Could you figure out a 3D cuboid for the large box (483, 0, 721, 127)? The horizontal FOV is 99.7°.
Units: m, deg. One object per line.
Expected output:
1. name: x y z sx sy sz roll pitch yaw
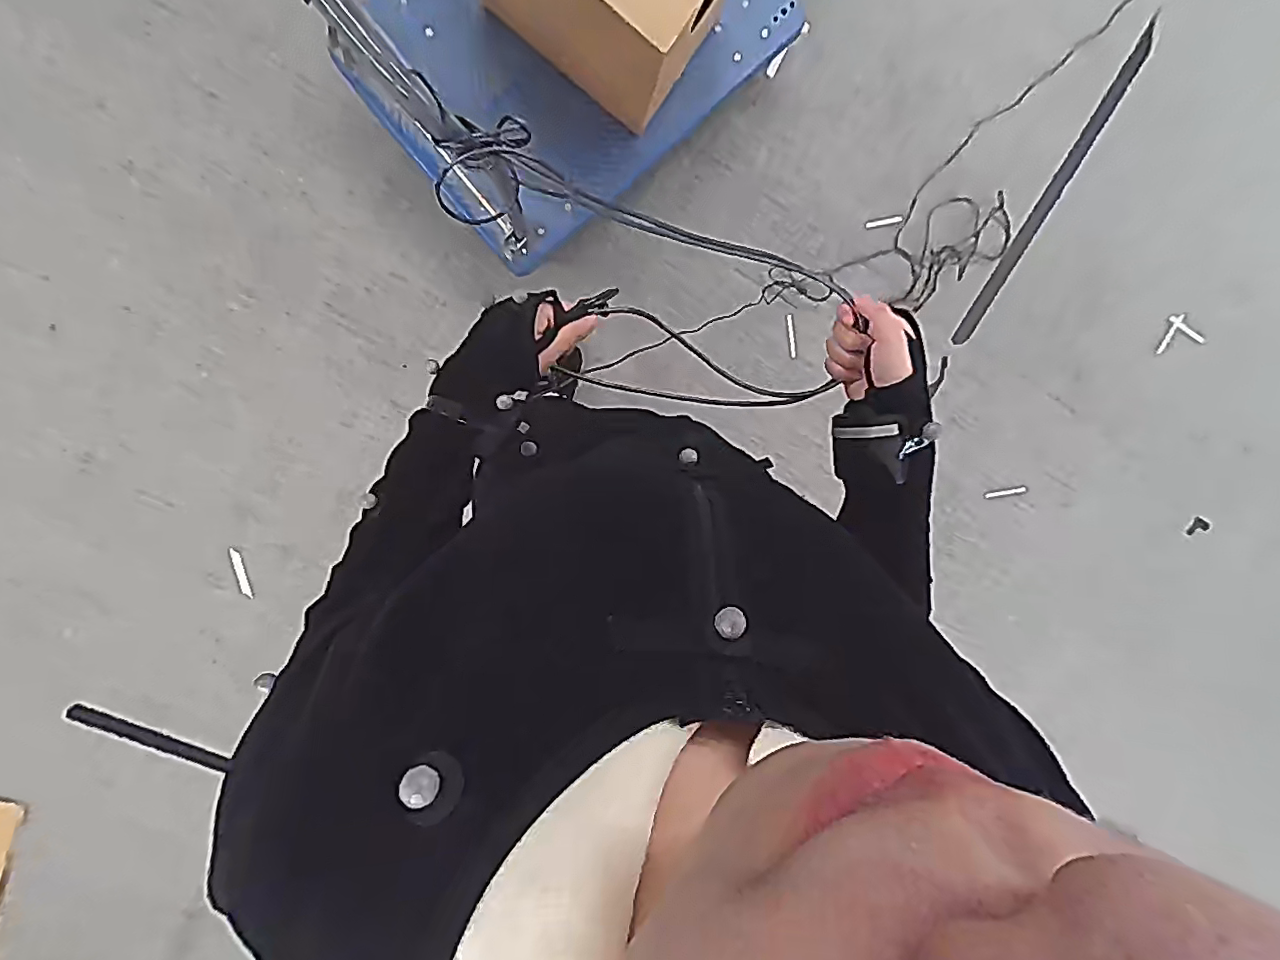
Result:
1. large box: -0.057 -0.965 0.983 0.408 0.320 0.320 33 95 -14
